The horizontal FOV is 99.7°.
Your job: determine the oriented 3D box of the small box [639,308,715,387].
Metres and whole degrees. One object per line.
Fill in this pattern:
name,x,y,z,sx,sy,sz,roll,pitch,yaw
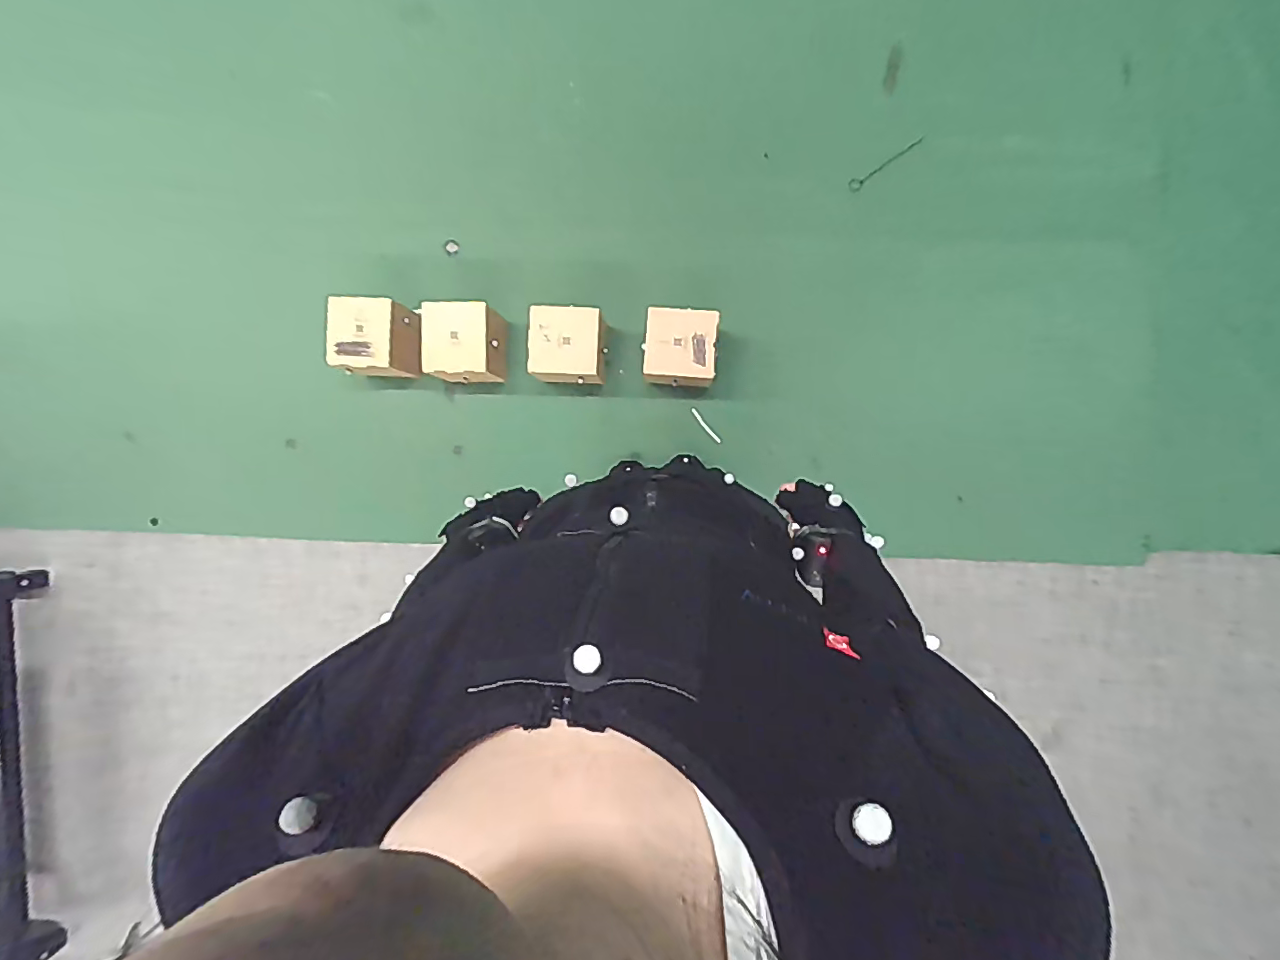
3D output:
small box,0.094,-0.336,1.399,0.179,0.176,0.168,5,92,3

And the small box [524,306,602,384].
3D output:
small box,-0.195,-0.346,1.410,0.179,0.176,0.168,3,93,2

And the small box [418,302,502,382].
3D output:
small box,-0.469,-0.360,1.424,0.168,0.176,0.179,1,93,2
